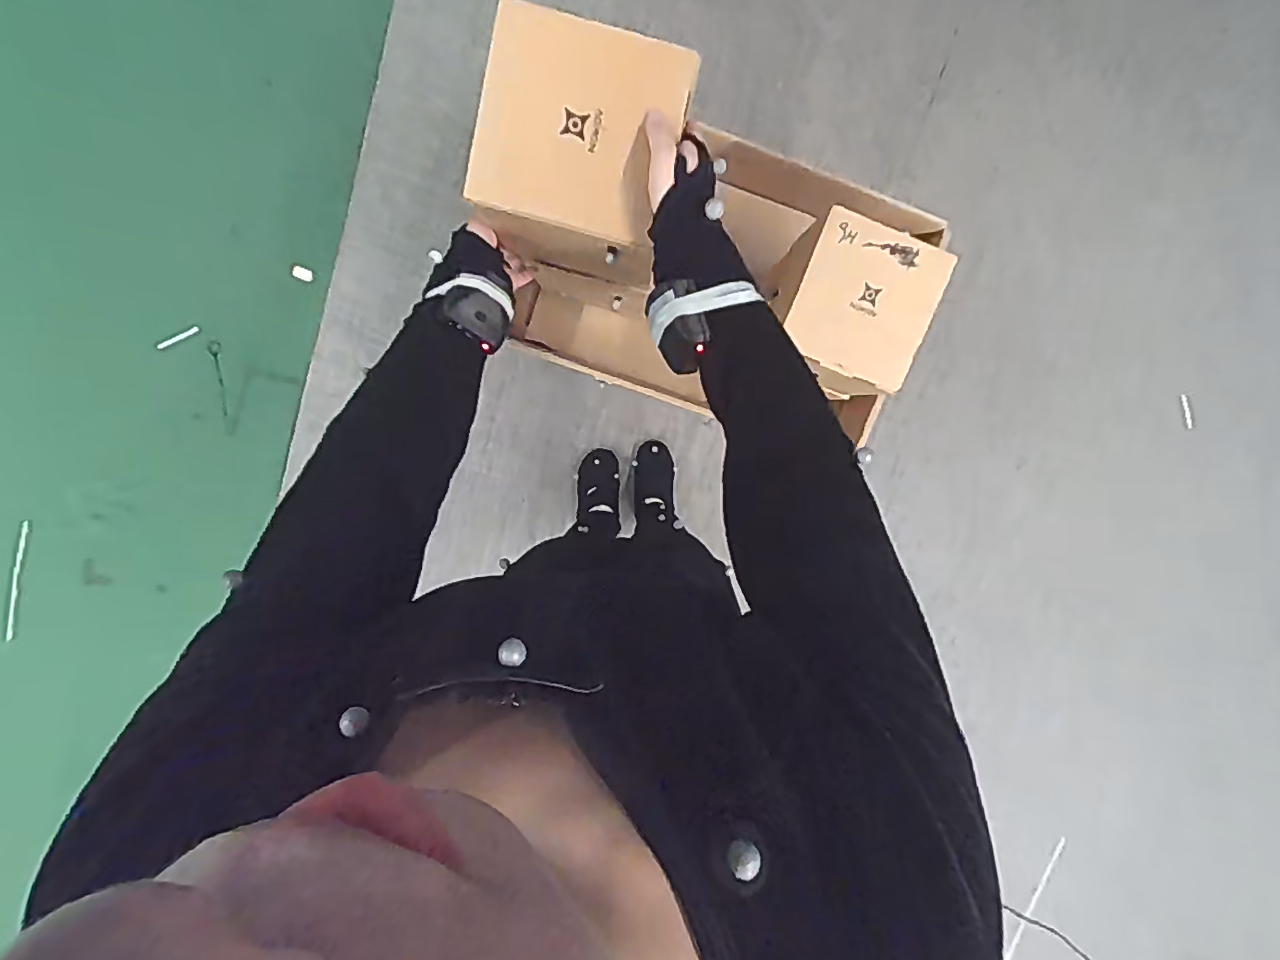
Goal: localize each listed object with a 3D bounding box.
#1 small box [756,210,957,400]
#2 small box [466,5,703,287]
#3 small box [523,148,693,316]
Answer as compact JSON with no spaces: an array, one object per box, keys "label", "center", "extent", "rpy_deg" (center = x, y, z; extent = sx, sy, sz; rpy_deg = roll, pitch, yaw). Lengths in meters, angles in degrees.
[{"label":"small box","center":[0.269,-0.219,0.722],"extent":[0.168,0.176,0.179],"rpy_deg":[21,99,-4]},{"label":"small box","center":[-0.051,-0.308,0.543],"extent":[0.179,0.176,0.168],"rpy_deg":[13,98,-4]},{"label":"small box","center":[-0.039,-0.327,0.704],"extent":[0.168,0.176,0.179],"rpy_deg":[15,98,-3]}]
